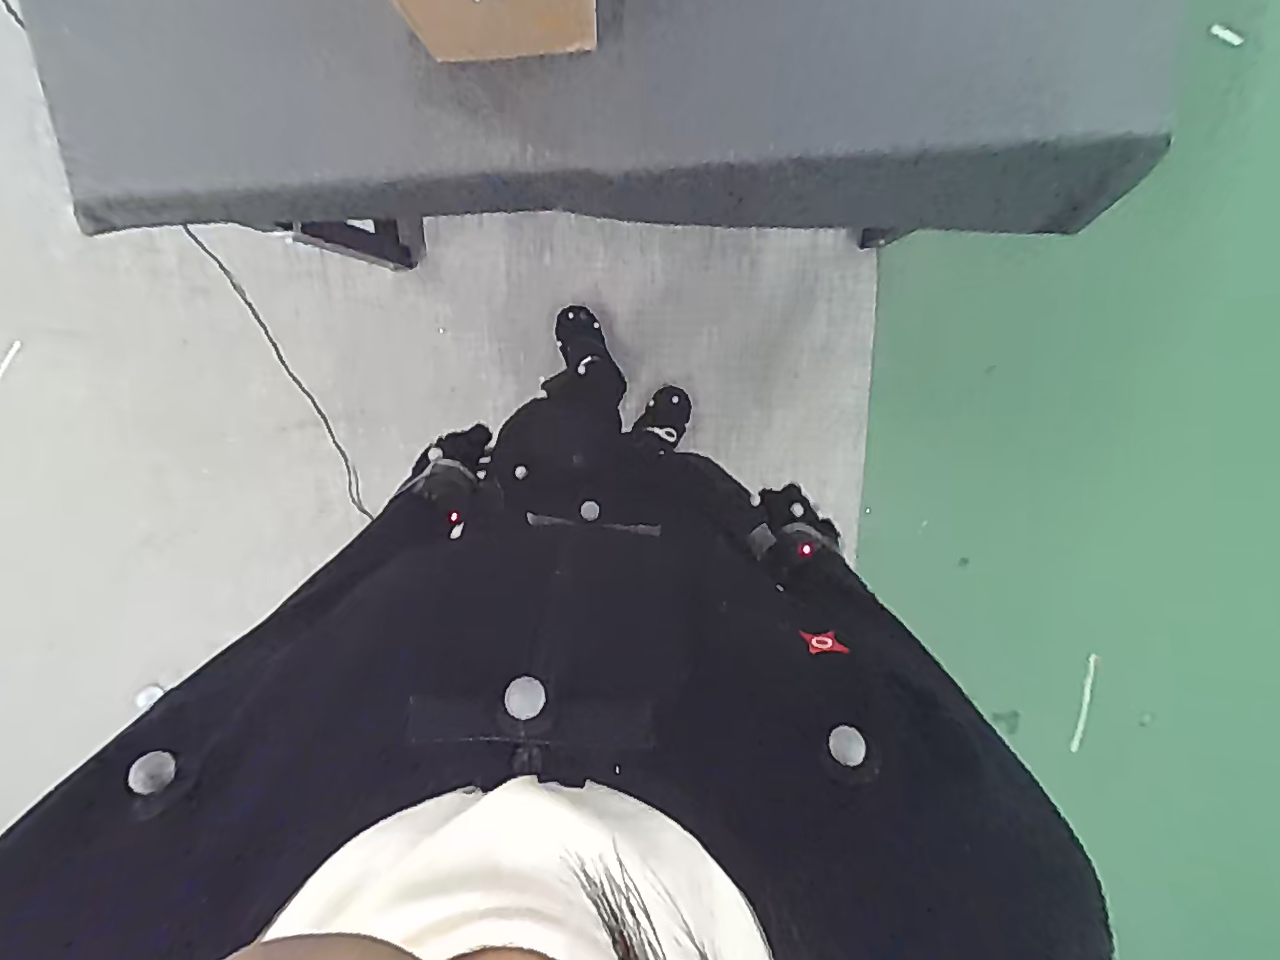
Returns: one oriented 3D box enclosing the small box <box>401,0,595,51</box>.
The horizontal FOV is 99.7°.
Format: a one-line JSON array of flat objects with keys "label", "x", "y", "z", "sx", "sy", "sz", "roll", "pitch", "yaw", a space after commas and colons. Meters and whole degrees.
[{"label": "small box", "x": -0.139, "y": -0.511, "z": 0.471, "sx": 0.179, "sy": 0.176, "sz": 0.168, "roll": -3, "pitch": 105, "yaw": 2}]
